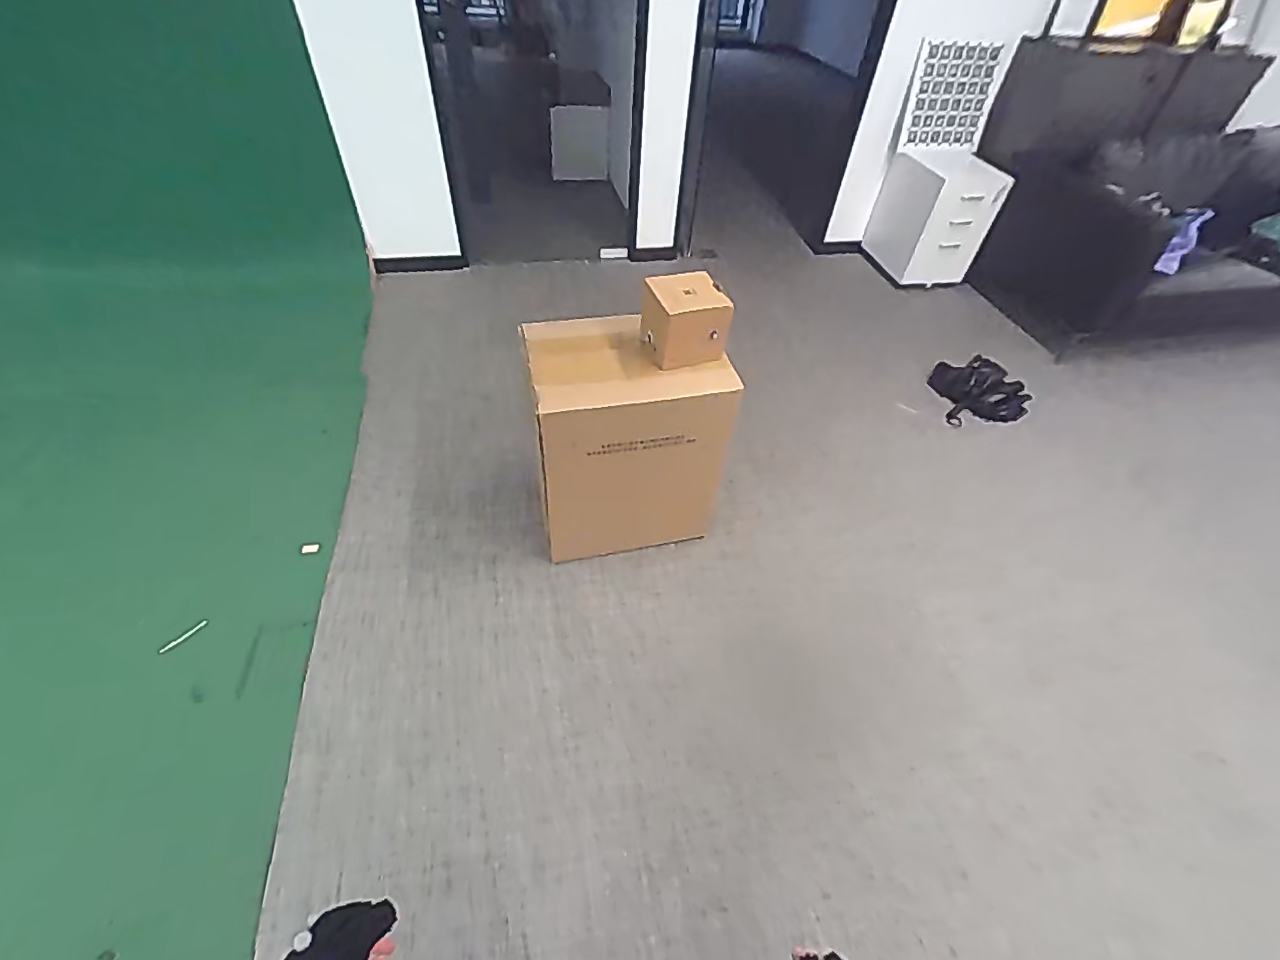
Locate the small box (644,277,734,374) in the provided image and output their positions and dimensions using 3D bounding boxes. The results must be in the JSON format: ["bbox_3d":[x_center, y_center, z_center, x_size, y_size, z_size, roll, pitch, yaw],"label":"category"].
[{"bbox_3d":[0.119,-0.402,1.409,0.179,0.176,0.168,-16,52,-16],"label":"small box"}]
